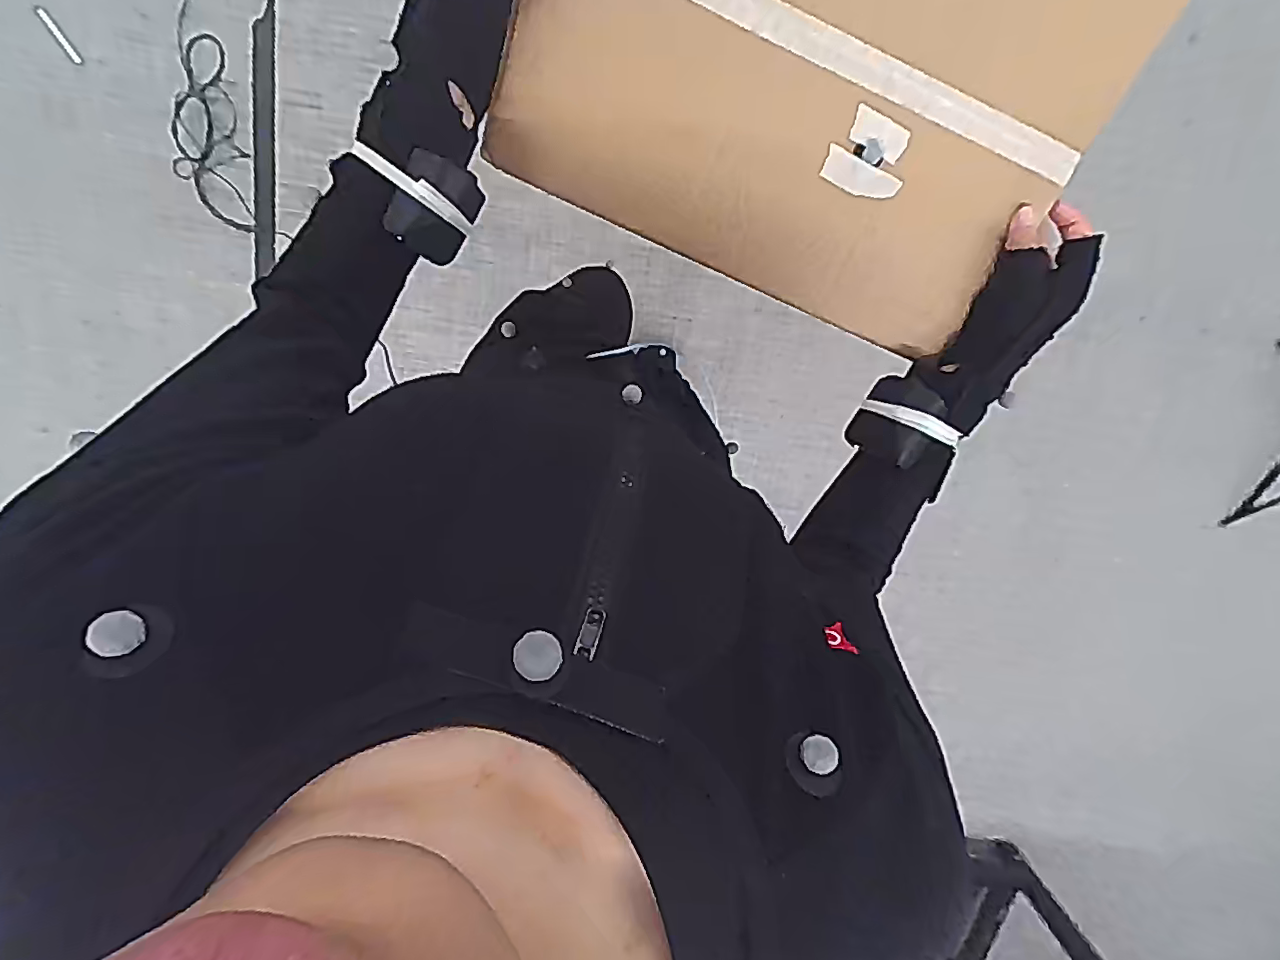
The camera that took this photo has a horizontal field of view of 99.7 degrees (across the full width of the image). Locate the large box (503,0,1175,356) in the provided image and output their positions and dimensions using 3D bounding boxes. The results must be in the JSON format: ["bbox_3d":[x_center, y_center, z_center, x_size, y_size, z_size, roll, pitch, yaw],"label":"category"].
[{"bbox_3d":[0.138,-0.368,0.513,0.408,0.320,0.320,23,117,-7],"label":"large box"}]
